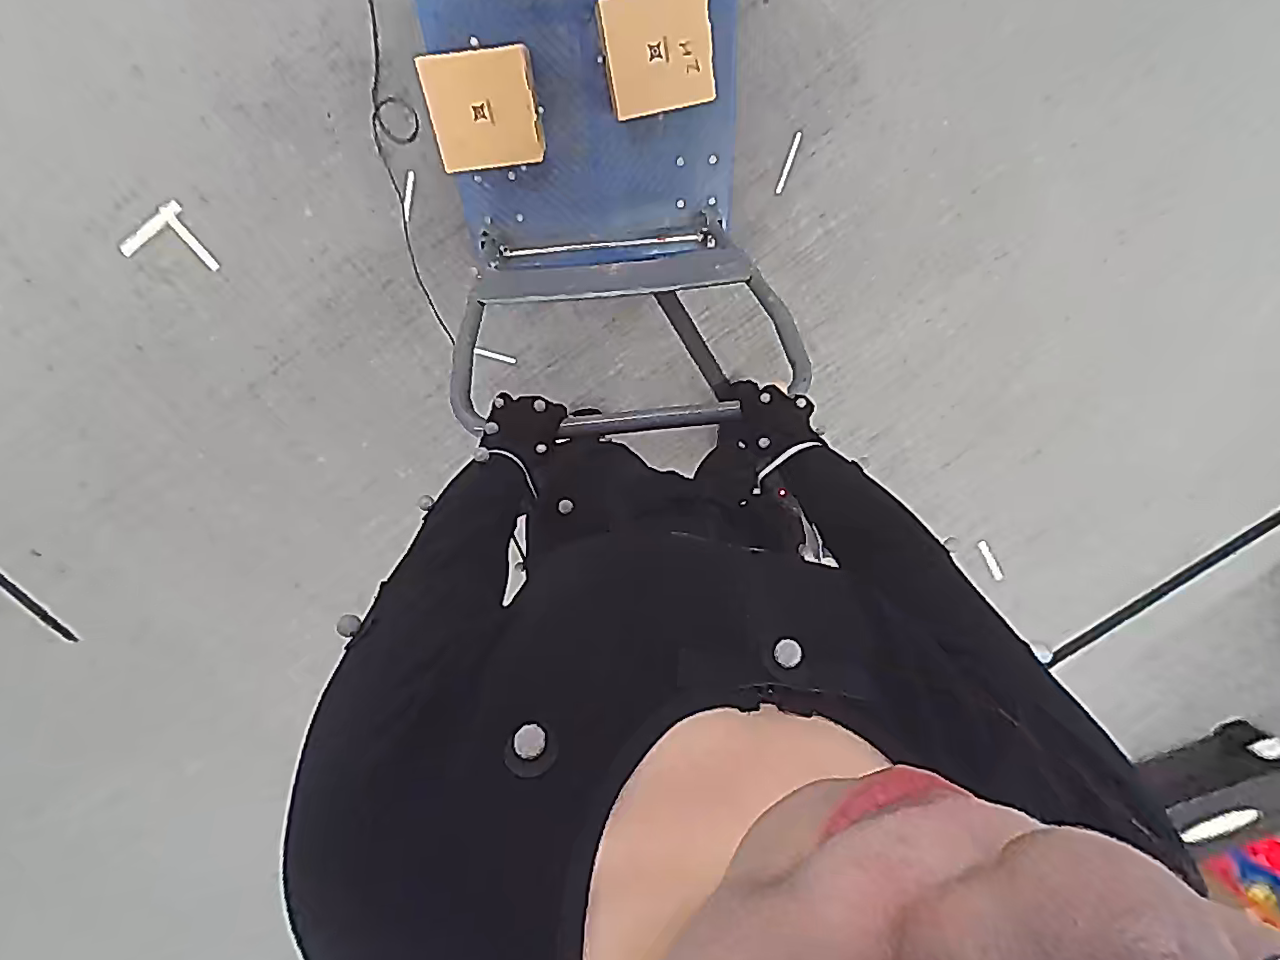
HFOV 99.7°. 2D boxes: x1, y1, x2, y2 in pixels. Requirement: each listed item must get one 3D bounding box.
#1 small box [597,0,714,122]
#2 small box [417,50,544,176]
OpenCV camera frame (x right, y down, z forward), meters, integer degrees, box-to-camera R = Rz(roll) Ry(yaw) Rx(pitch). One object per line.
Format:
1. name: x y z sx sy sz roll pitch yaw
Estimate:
1. small box: 0.025 -0.748 0.954 0.179 0.176 0.168 -11 128 2
2. small box: -0.275 -0.663 0.980 0.179 0.176 0.168 -10 128 -2
